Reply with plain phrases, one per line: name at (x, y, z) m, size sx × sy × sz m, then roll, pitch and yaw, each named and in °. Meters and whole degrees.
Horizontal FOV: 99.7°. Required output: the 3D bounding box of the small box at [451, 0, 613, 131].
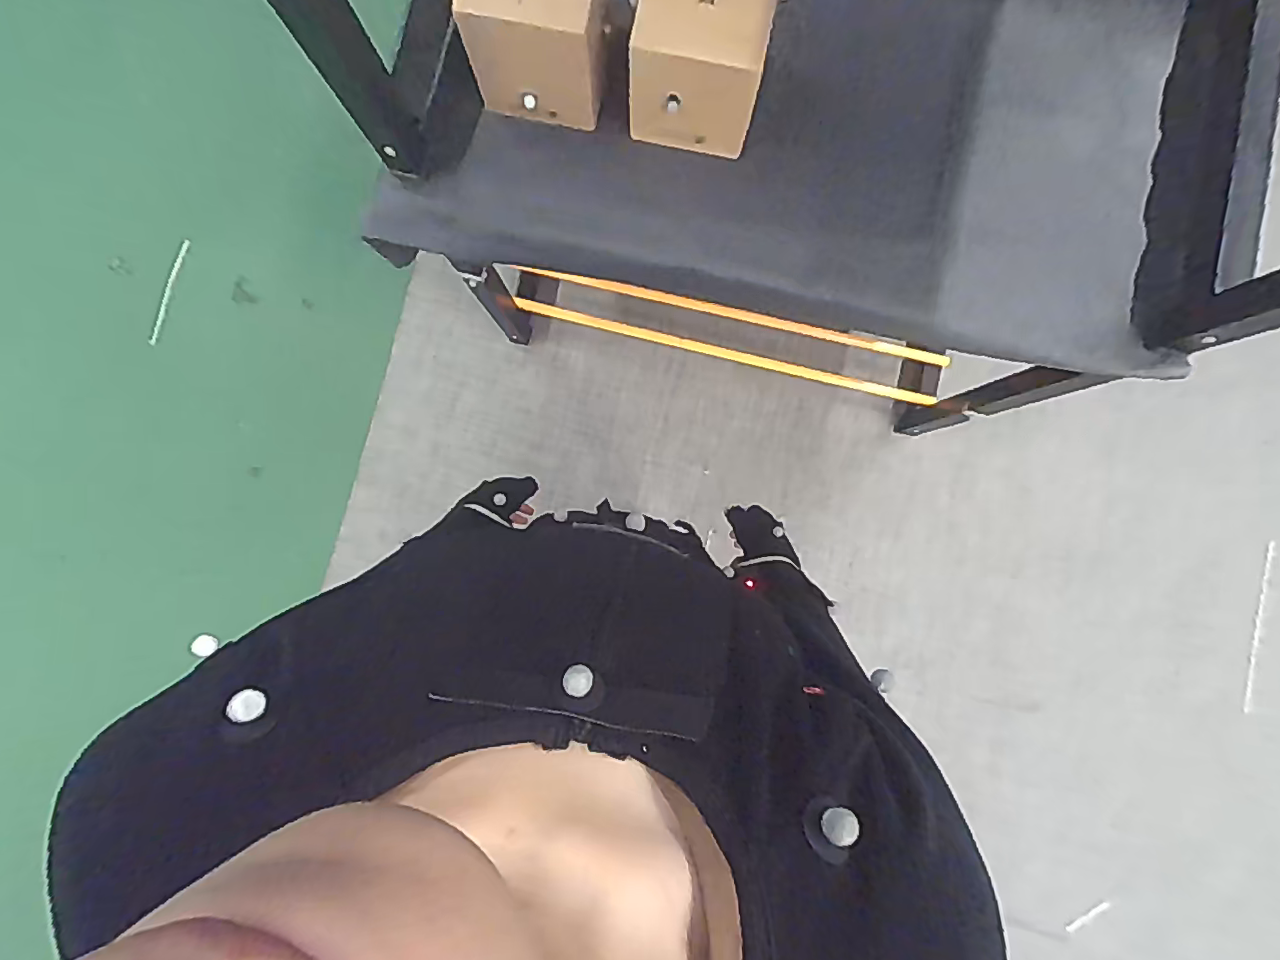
small box at (-0.131, -0.622, 0.729) m, size 0.168 × 0.176 × 0.179 m, roll 11°, pitch 87°, yaw 1°
